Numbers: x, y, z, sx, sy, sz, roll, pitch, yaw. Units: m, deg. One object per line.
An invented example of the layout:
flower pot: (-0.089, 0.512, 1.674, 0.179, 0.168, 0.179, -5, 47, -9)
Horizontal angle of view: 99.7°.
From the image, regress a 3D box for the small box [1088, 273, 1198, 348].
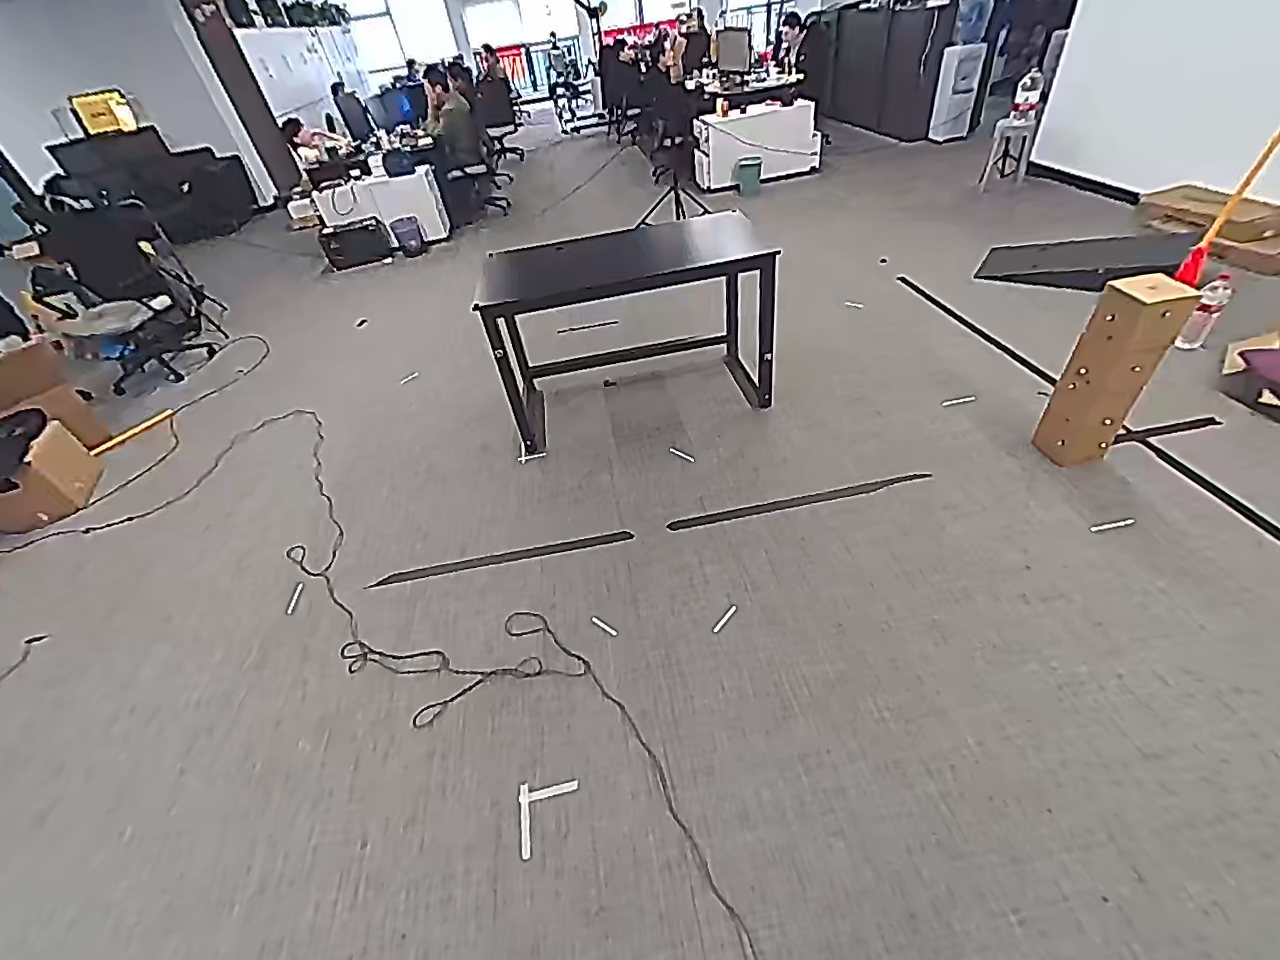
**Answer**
small box: (1.587, -0.538, 1.725, 0.179, 0.176, 0.168, -10, 42, 0)

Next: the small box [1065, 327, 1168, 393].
small box: (1.607, -0.419, 1.838, 0.179, 0.176, 0.168, -13, 42, -3)

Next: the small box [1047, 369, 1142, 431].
small box: (1.628, -0.301, 1.951, 0.179, 0.176, 0.168, -12, 41, -4)

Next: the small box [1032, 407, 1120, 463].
small box: (1.651, -0.181, 2.060, 0.168, 0.176, 0.179, -12, 40, -2)
